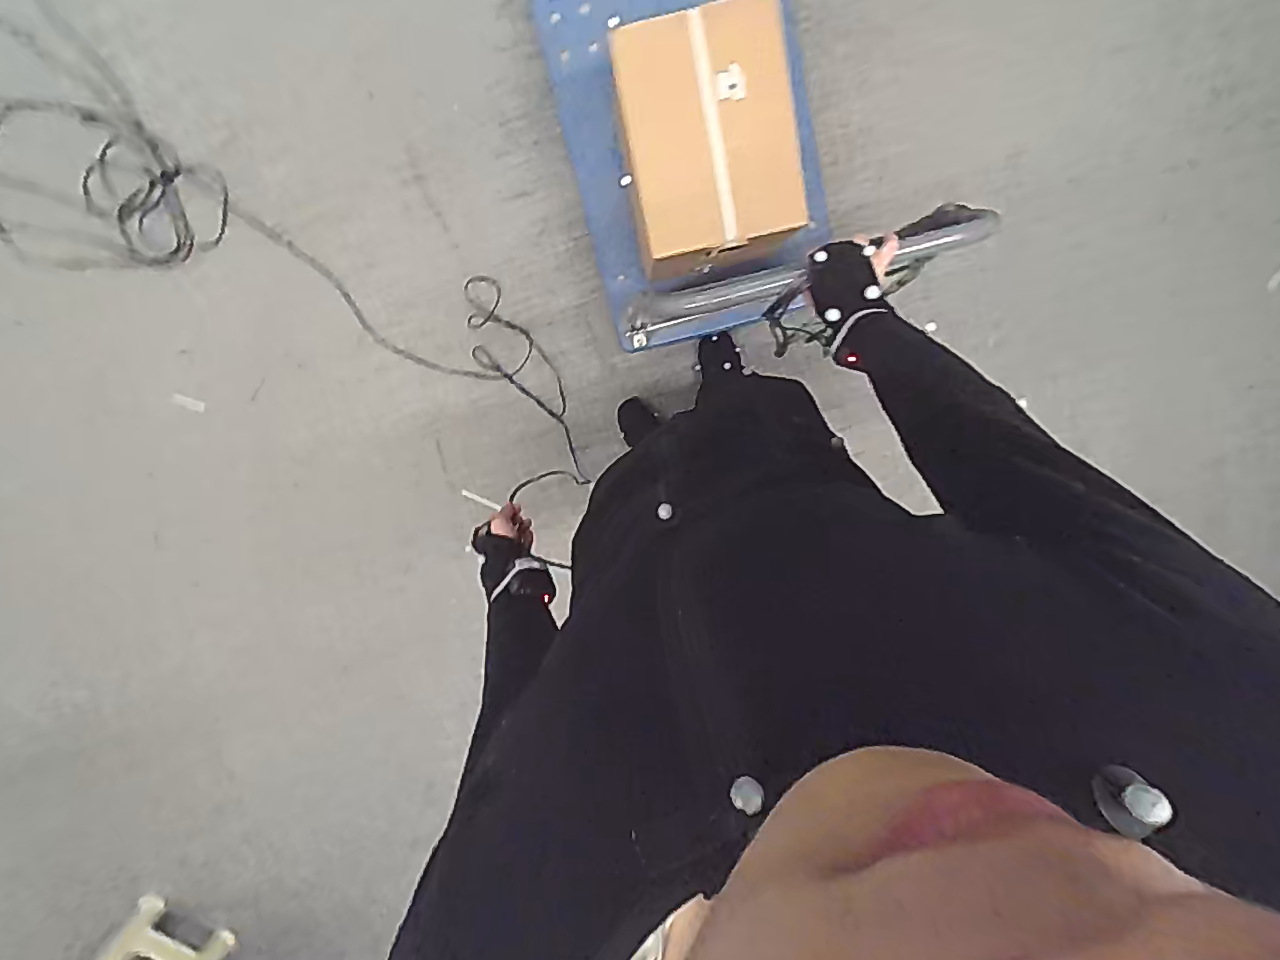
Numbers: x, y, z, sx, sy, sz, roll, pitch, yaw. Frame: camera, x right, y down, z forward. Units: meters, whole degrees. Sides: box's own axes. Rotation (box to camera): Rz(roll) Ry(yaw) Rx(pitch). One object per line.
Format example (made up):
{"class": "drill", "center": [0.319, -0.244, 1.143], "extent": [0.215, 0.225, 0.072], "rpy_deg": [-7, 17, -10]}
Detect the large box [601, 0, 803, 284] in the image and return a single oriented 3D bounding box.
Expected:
{"class": "large box", "center": [0.121, -0.678, 1.151], "extent": [0.320, 0.320, 0.408], "rpy_deg": [-13, 101, 1]}
